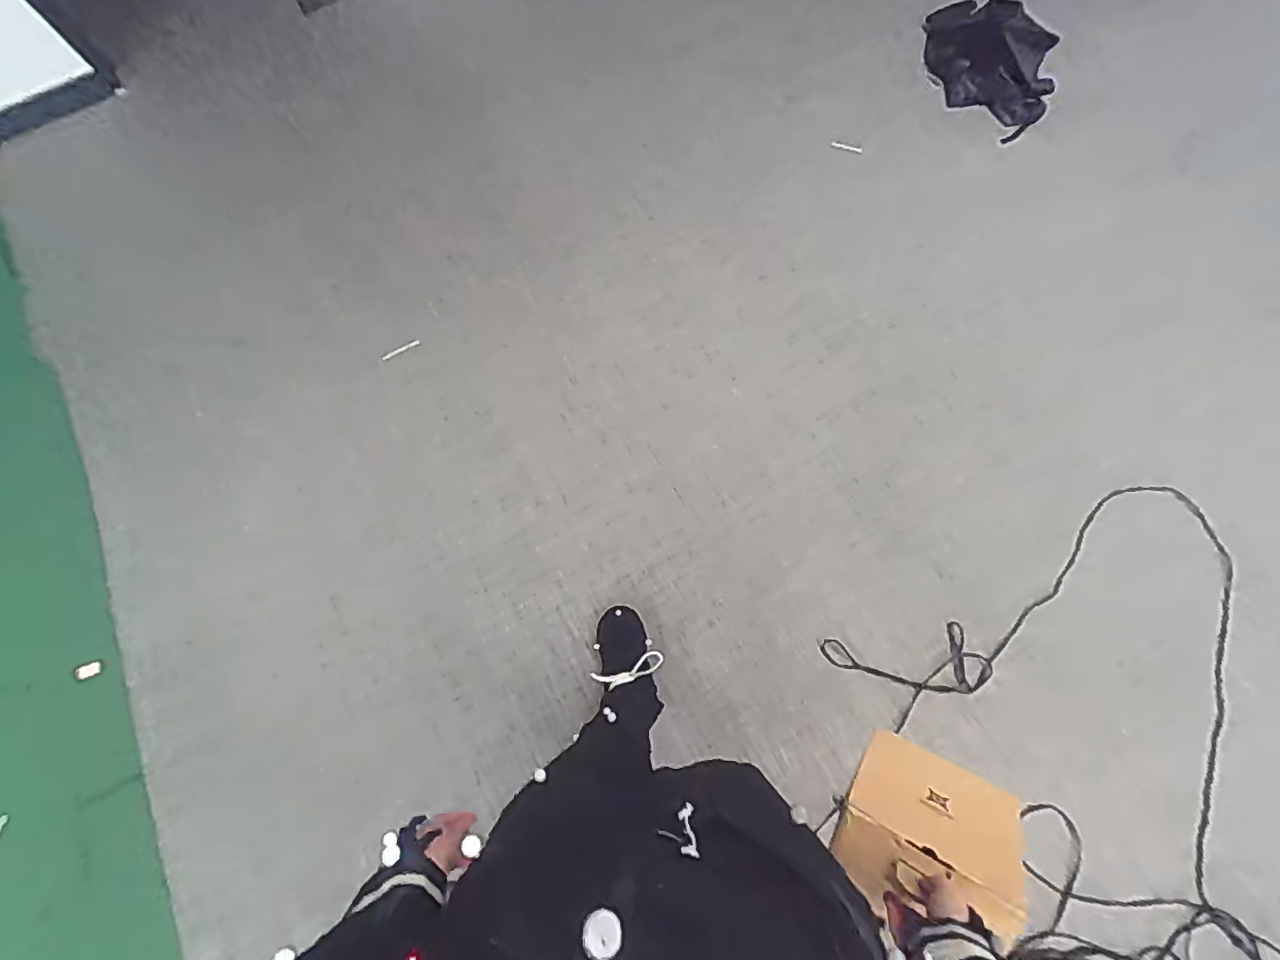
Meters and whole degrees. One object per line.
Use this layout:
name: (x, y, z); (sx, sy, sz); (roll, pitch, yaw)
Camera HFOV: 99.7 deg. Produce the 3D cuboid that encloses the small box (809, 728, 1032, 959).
small box: (0.309, 0.430, 0.609); (0.168, 0.179, 0.176); (22, 108, 29)
